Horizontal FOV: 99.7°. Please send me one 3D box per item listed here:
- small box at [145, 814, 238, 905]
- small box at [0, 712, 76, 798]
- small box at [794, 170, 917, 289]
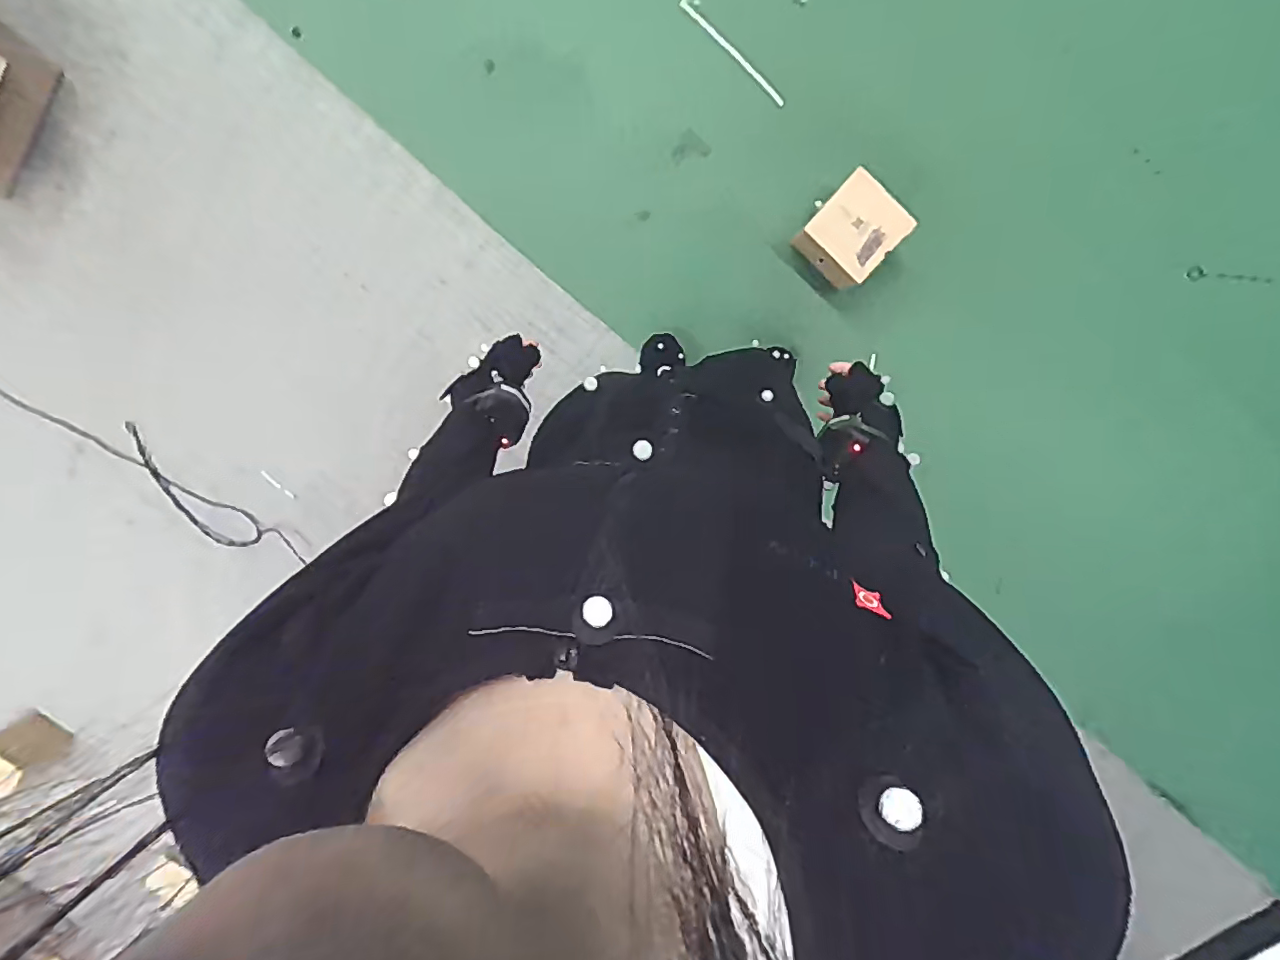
[{"bbox_3d":[-1.599,1.355,1.939,0.168,0.176,0.179,39,105,-6],"label":"small box"},{"bbox_3d":[-2.140,0.939,1.868,0.179,0.176,0.168,39,104,-7],"label":"small box"},{"bbox_3d":[0.477,-0.554,1.224,0.179,0.176,0.168,42,104,-6],"label":"small box"}]
